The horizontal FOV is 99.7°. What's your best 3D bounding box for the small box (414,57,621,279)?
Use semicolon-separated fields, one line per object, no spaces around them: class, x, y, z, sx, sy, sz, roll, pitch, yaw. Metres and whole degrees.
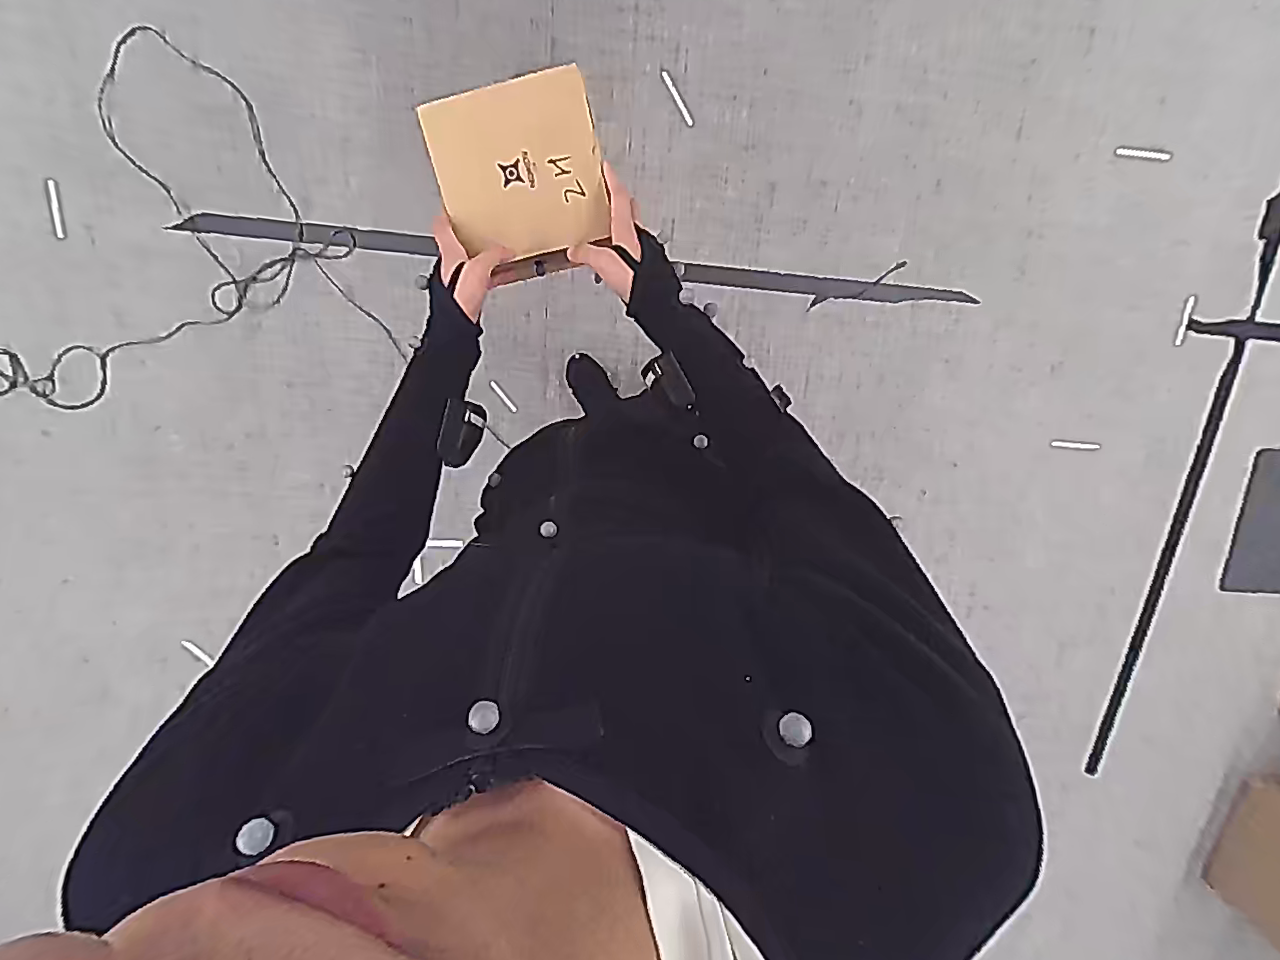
small box;-0.125;-0.341;0.630;0.179;0.176;0.168;-12;106;3

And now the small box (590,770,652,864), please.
small box;-0.060;1.037;1.668;0.168;0.176;0.179;7;105;-6
